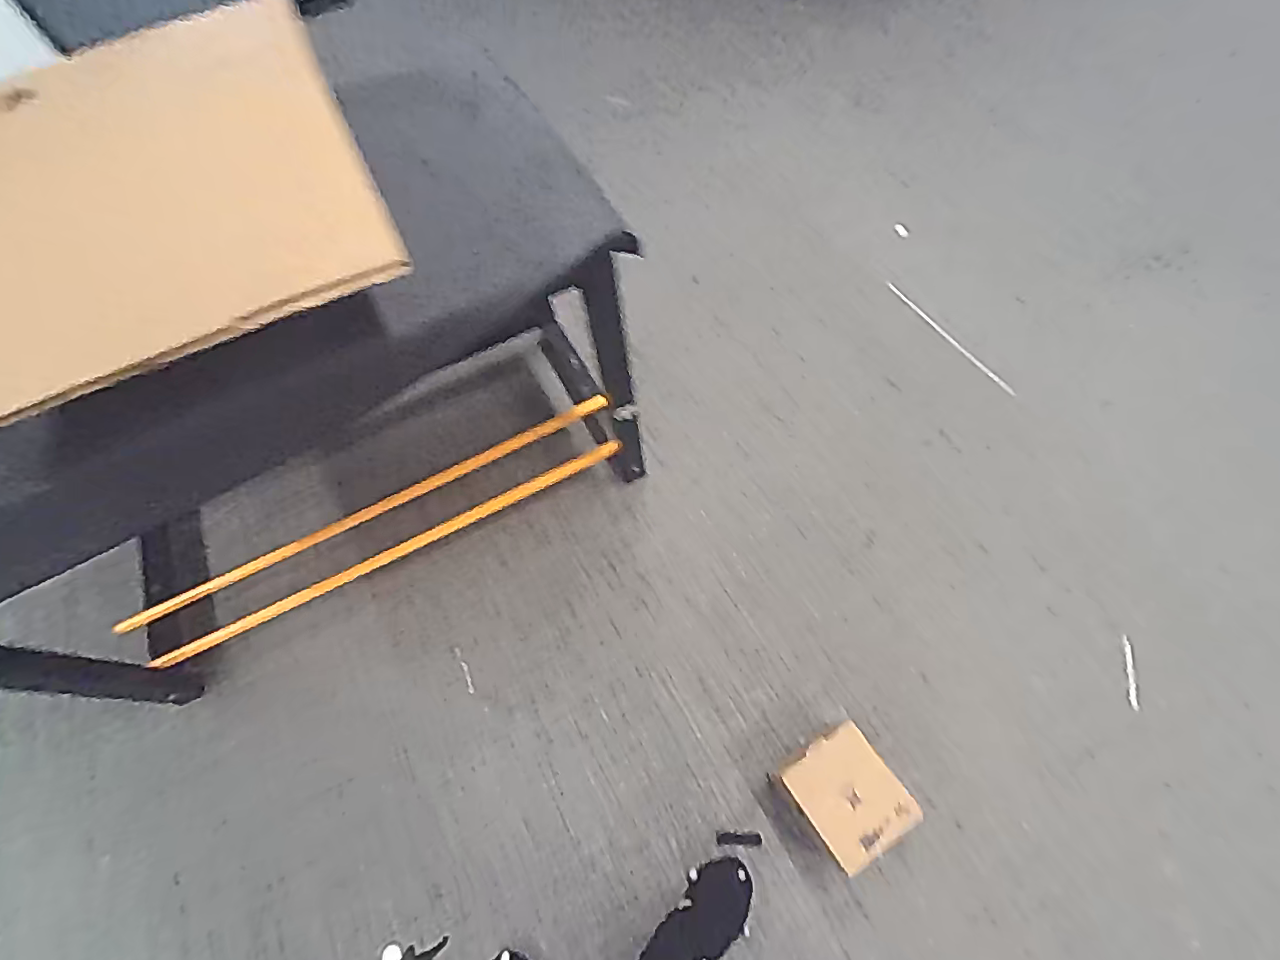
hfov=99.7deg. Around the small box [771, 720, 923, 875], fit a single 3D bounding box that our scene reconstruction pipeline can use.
[{"bbox_3d":[0.361,0.569,0.985,0.168,0.176,0.179,-32,65,-11],"label":"small box"}]
